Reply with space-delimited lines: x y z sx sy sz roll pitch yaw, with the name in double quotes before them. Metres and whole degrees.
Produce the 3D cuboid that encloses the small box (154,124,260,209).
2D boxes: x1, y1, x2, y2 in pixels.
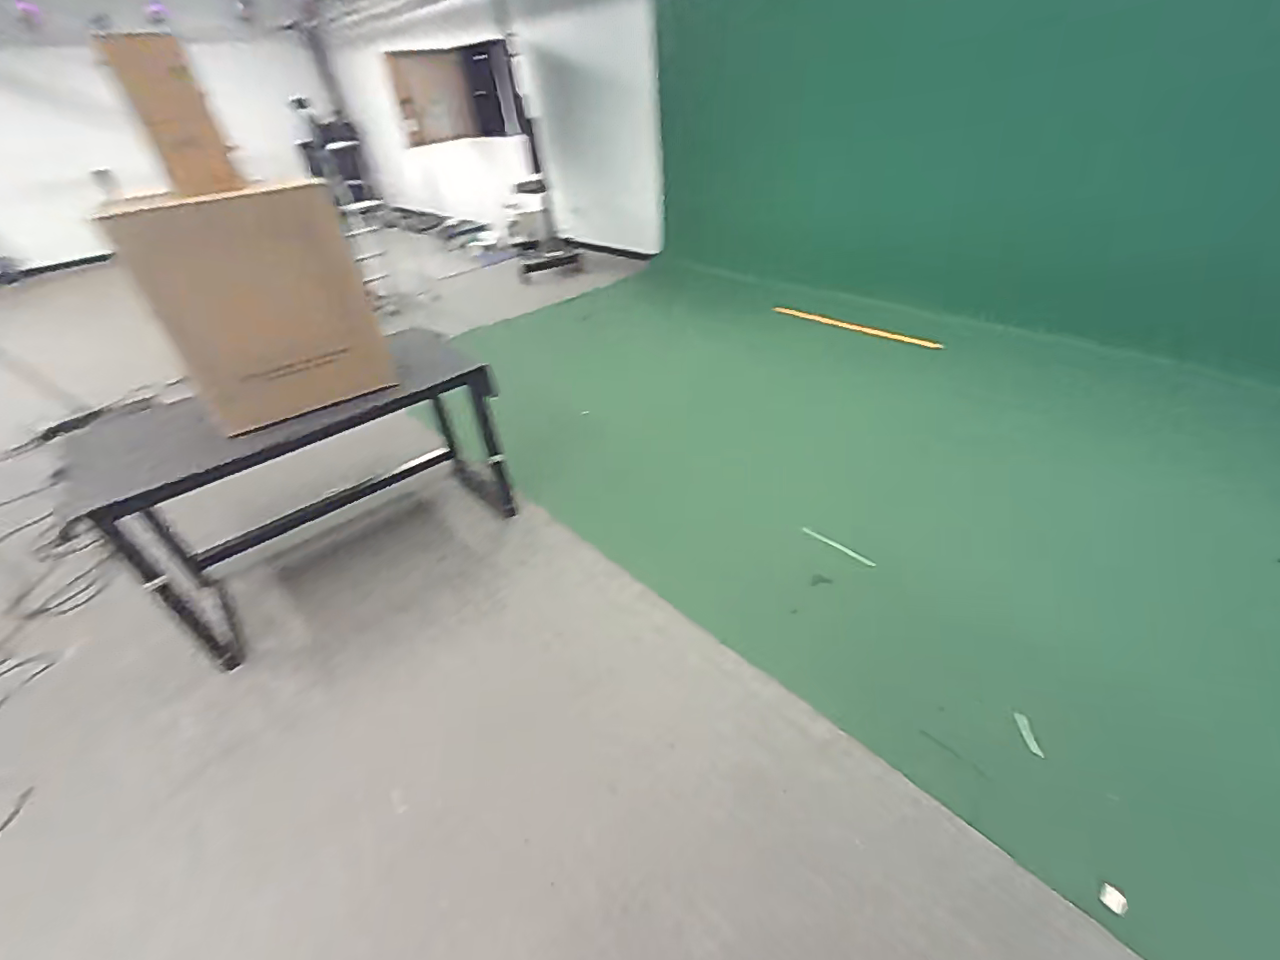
"small box" -1.152 -0.844 1.453 0.179 0.176 0.168 -25 43 -25
